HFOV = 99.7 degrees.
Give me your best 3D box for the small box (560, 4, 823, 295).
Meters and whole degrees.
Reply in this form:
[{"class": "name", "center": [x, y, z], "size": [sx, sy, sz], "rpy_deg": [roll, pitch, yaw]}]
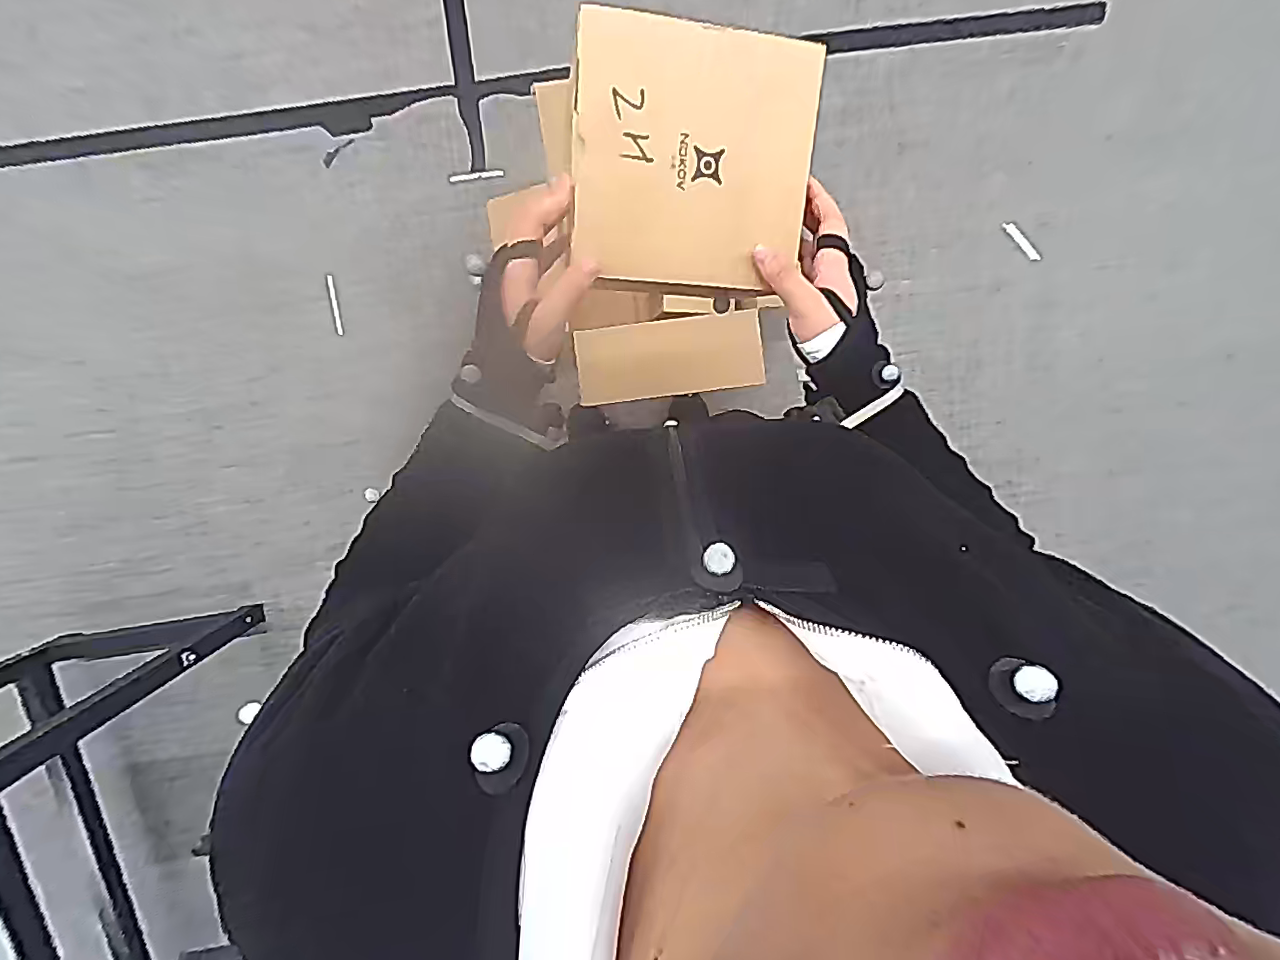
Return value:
[{"class": "small box", "center": [0.025, -0.251, 0.461], "size": [0.179, 0.176, 0.168], "rpy_deg": [1, 107, -10]}]
